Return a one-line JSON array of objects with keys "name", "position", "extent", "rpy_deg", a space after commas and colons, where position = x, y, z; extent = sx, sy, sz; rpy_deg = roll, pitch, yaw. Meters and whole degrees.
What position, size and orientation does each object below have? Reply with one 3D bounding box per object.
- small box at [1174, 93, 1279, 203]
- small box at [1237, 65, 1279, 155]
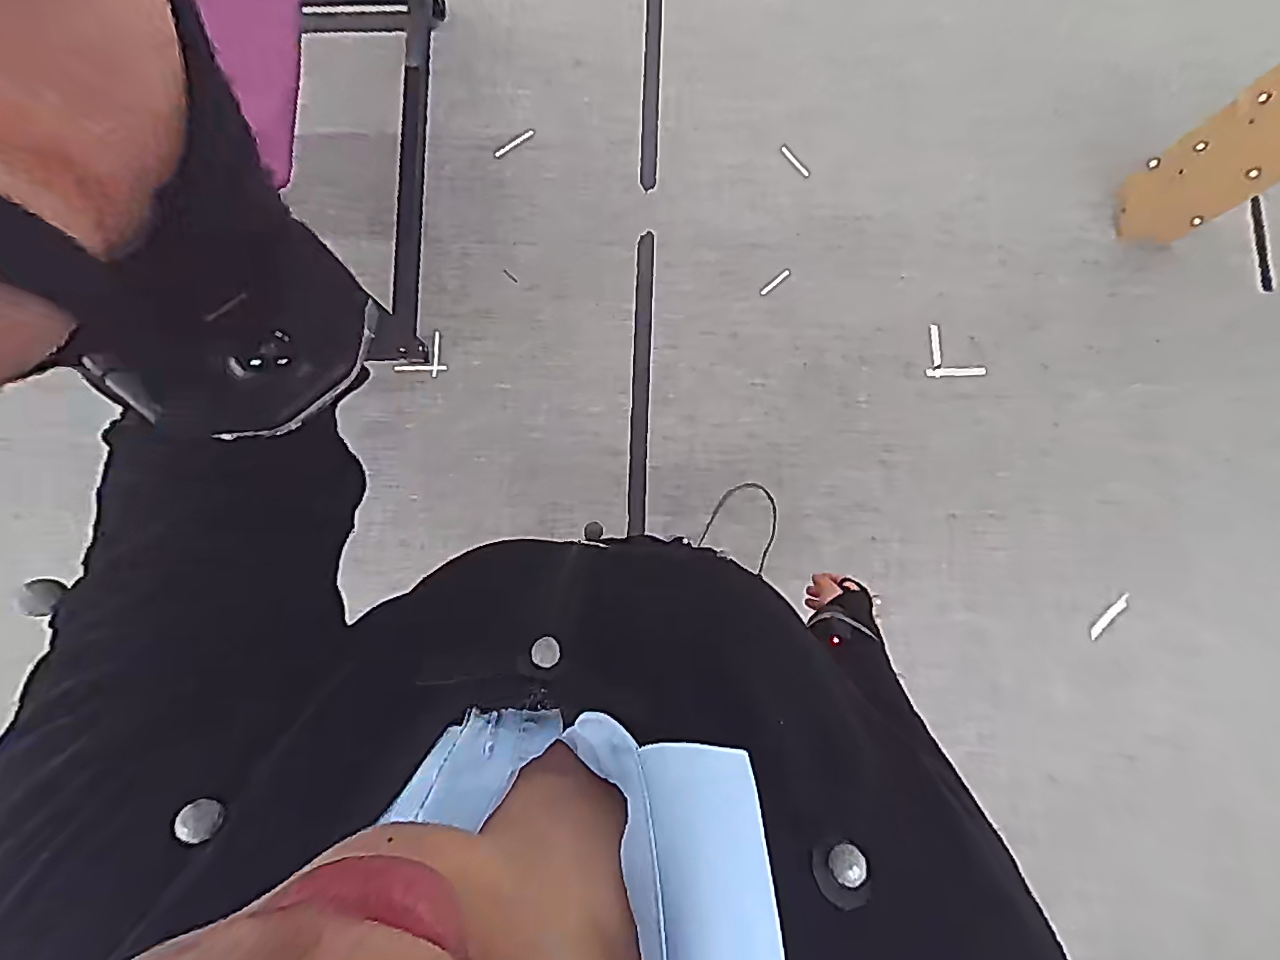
[{"name": "small box", "position": [1.529, -0.841, 1.384], "extent": [0.179, 0.176, 0.168], "rpy_deg": [8, 83, 0]}, {"name": "small box", "position": [1.532, -0.866, 1.224], "extent": [0.179, 0.176, 0.168], "rpy_deg": [7, 83, 1]}]
